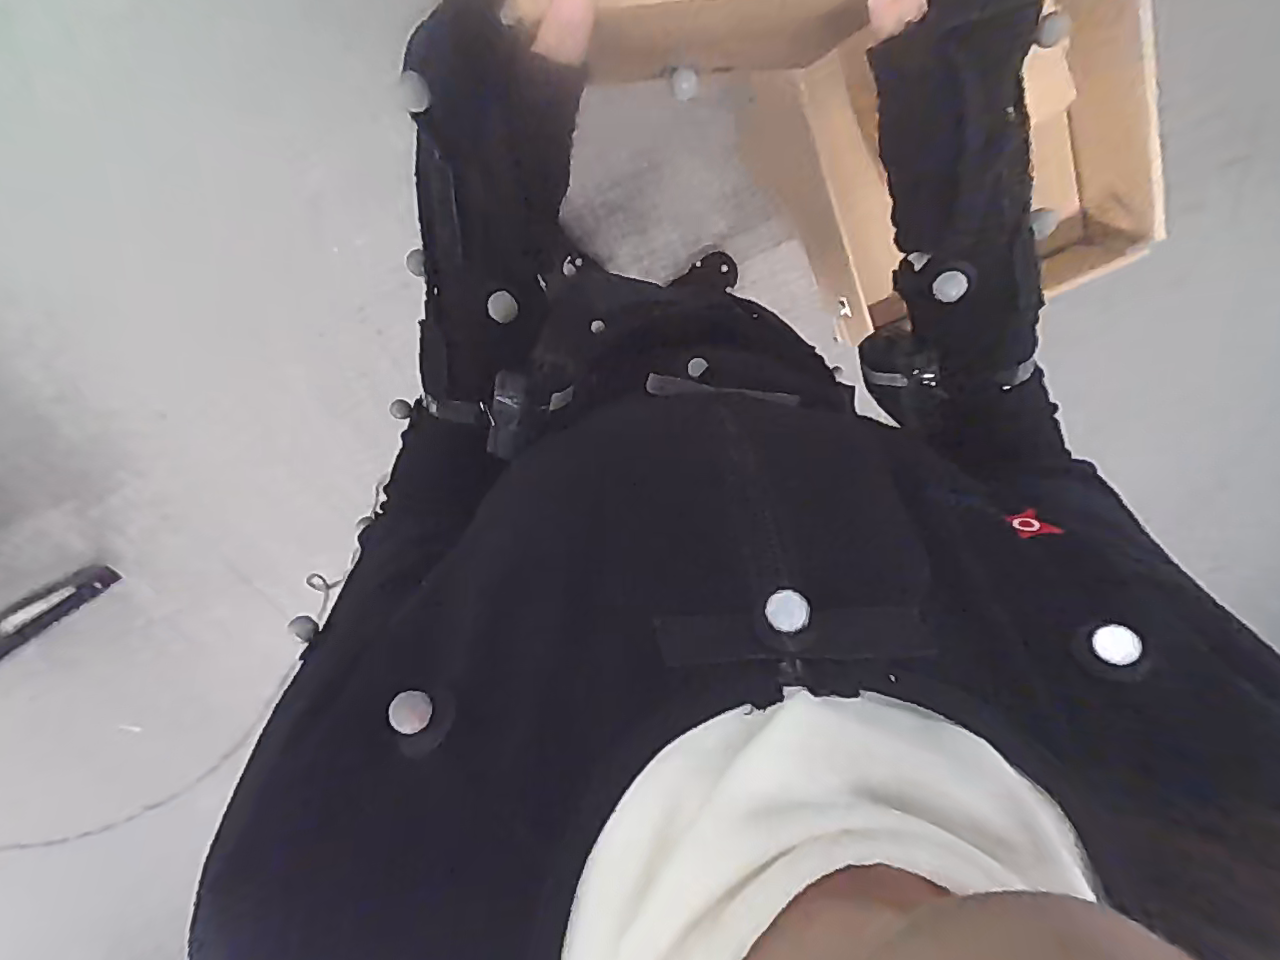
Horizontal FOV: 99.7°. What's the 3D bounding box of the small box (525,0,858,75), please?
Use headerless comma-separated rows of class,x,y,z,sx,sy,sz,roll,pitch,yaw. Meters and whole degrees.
small box,0.017,-0.310,0.243,0.168,0.176,0.179,-4,119,2

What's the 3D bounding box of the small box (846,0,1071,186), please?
small box,0.405,-0.518,0.712,0.179,0.176,0.168,-29,110,13
